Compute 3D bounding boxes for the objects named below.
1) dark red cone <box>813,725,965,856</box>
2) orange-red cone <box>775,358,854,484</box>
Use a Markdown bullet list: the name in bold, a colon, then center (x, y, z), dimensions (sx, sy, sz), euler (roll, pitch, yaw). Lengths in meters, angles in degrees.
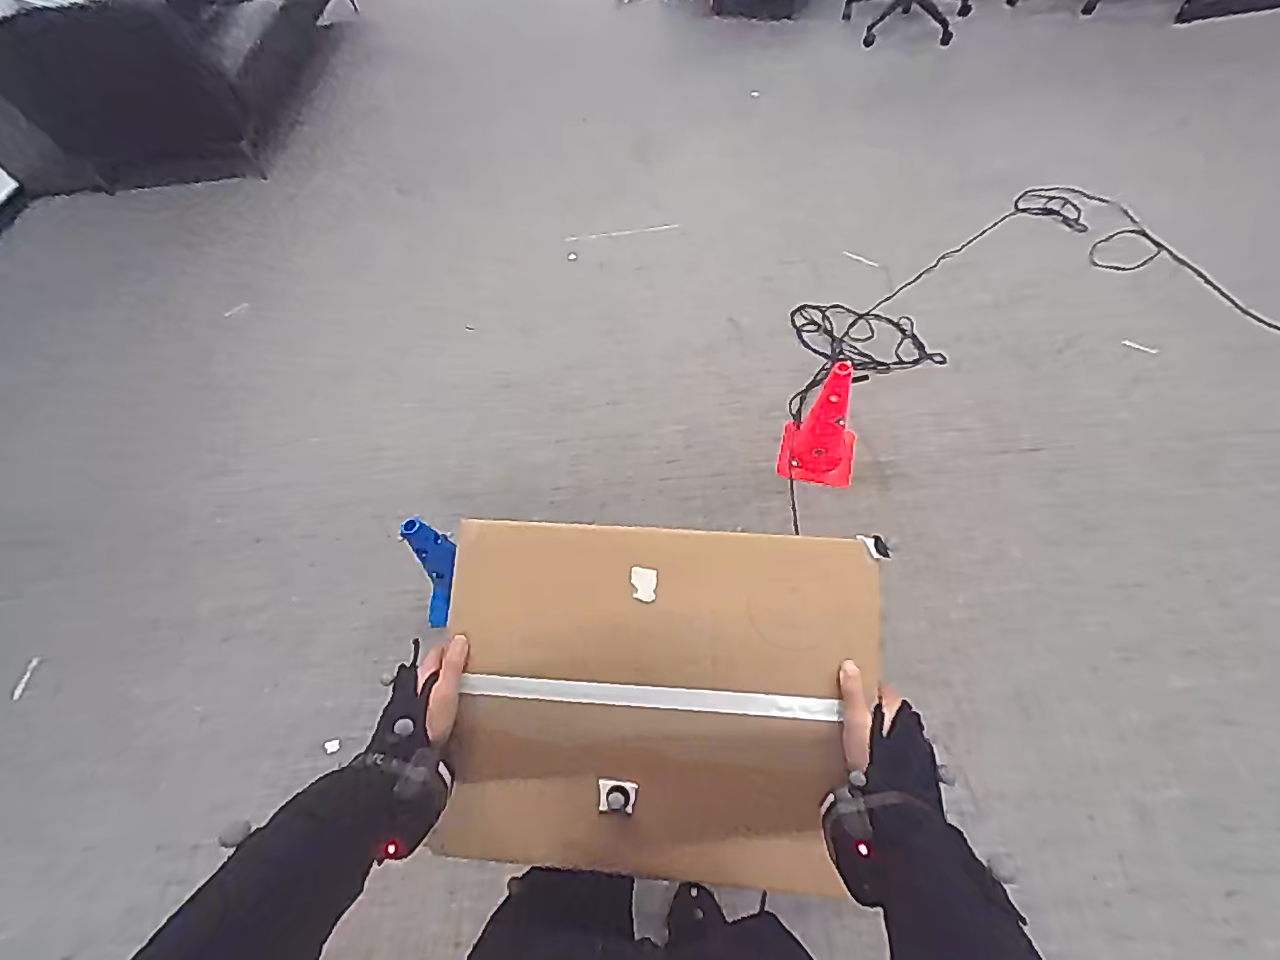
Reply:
- **dark red cone**: center (0.442, 0.518, 0.912), dimensions (0.202, 0.394, 0.201), euler (-11, 60, 0)
- **orange-red cone**: center (0.477, -0.175, 1.379), dimensions (0.199, 0.360, 0.198), euler (13, 61, 14)
